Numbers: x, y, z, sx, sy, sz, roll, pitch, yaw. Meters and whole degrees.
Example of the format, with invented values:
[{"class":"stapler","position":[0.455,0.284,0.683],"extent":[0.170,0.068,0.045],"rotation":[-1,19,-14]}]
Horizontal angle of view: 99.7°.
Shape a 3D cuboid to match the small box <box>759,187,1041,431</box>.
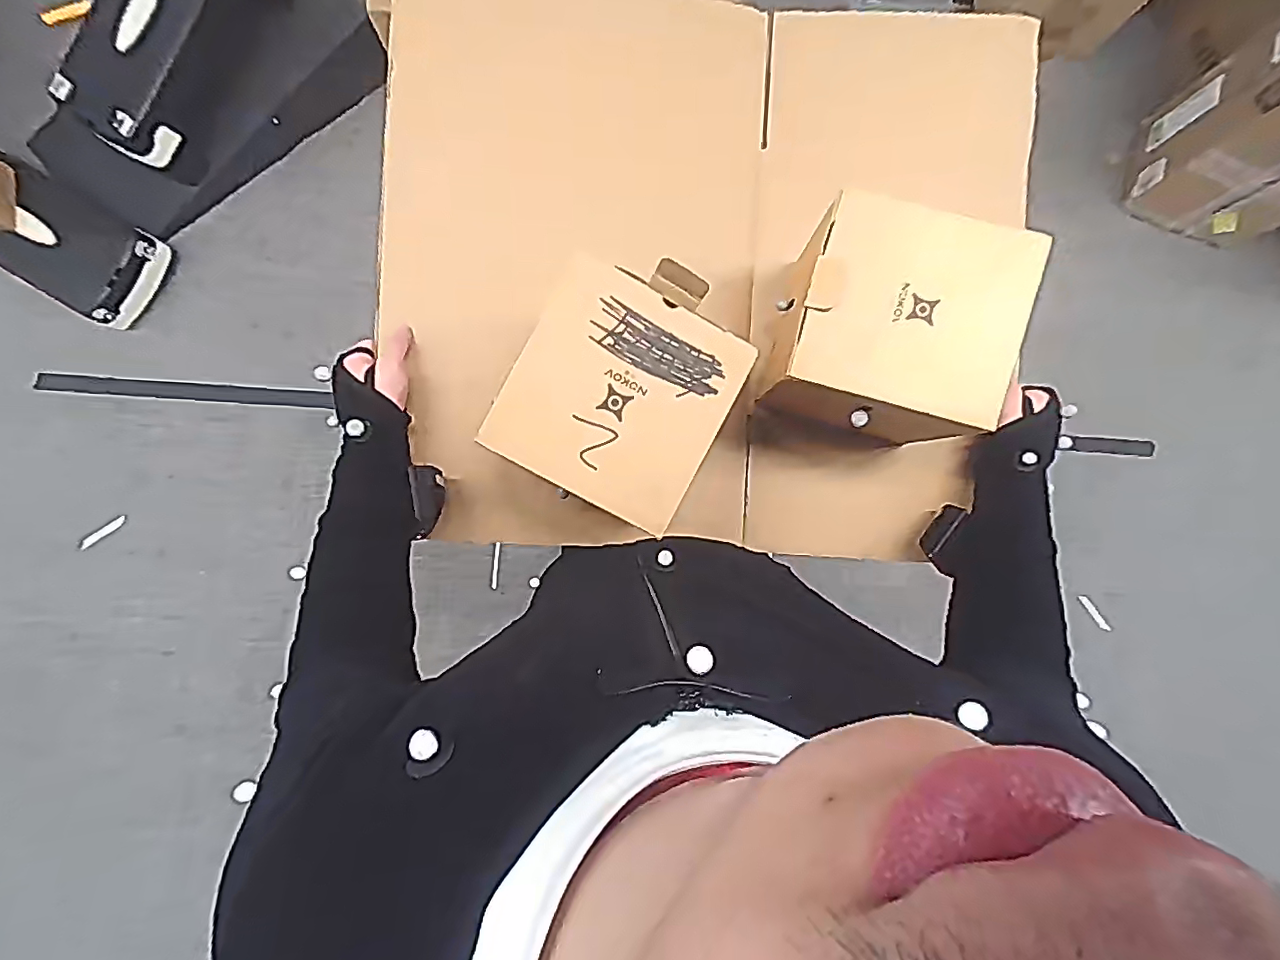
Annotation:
[{"class":"small box","position":[0.233,-0.149,0.535],"extent":[0.179,0.176,0.168],"rotation":[16,92,4]}]
